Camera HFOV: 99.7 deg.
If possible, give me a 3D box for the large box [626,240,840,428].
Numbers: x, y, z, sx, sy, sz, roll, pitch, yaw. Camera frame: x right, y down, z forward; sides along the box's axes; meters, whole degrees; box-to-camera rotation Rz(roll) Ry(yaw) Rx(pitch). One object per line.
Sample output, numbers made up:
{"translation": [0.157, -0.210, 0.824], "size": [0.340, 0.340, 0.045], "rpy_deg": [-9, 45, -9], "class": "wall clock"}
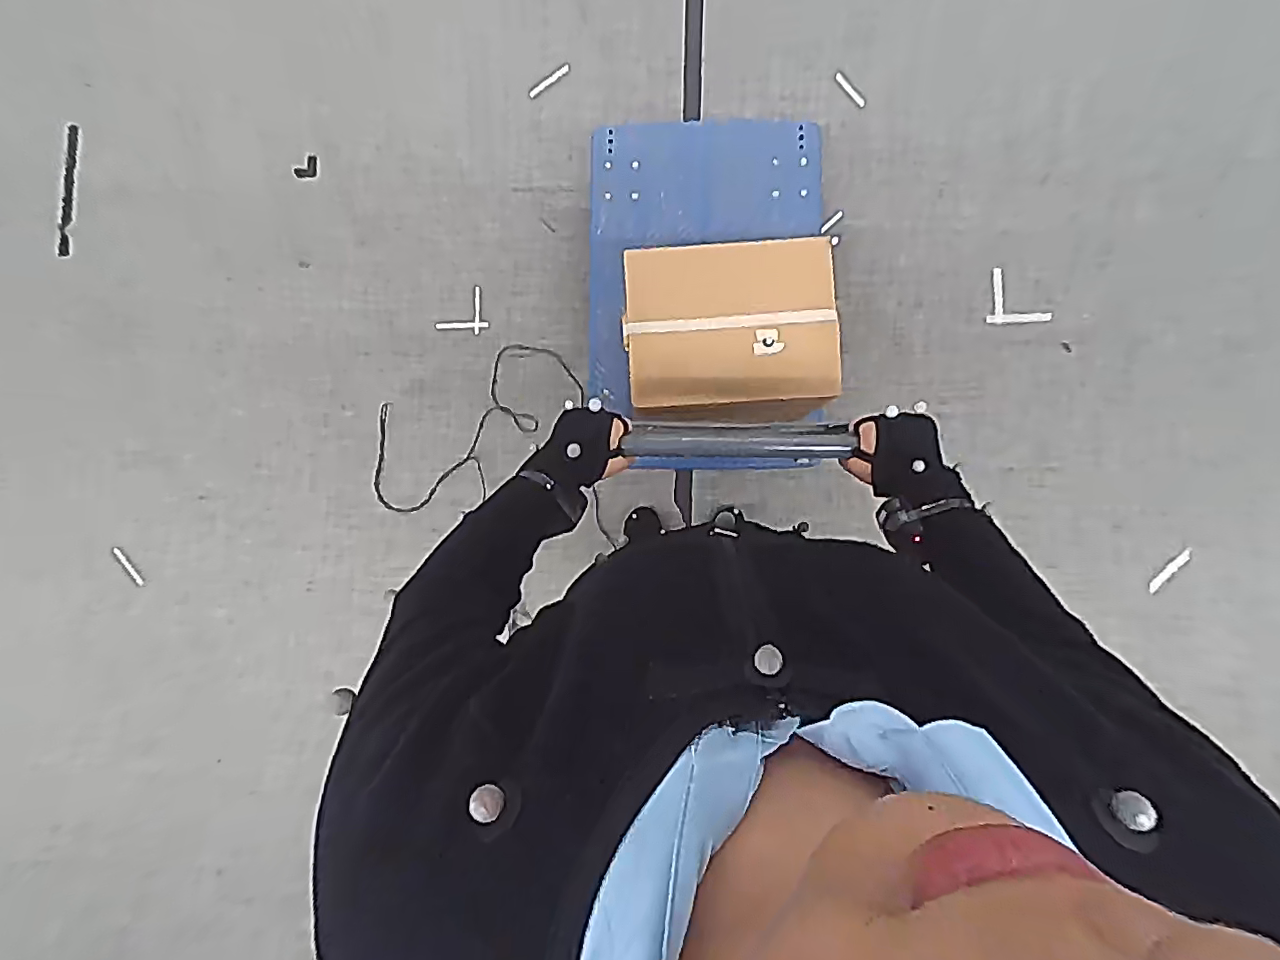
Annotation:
{"translation": [0.183, -0.301, 1.208], "size": [0.408, 0.320, 0.320], "rpy_deg": [-3, 88, 1], "class": "large box"}
